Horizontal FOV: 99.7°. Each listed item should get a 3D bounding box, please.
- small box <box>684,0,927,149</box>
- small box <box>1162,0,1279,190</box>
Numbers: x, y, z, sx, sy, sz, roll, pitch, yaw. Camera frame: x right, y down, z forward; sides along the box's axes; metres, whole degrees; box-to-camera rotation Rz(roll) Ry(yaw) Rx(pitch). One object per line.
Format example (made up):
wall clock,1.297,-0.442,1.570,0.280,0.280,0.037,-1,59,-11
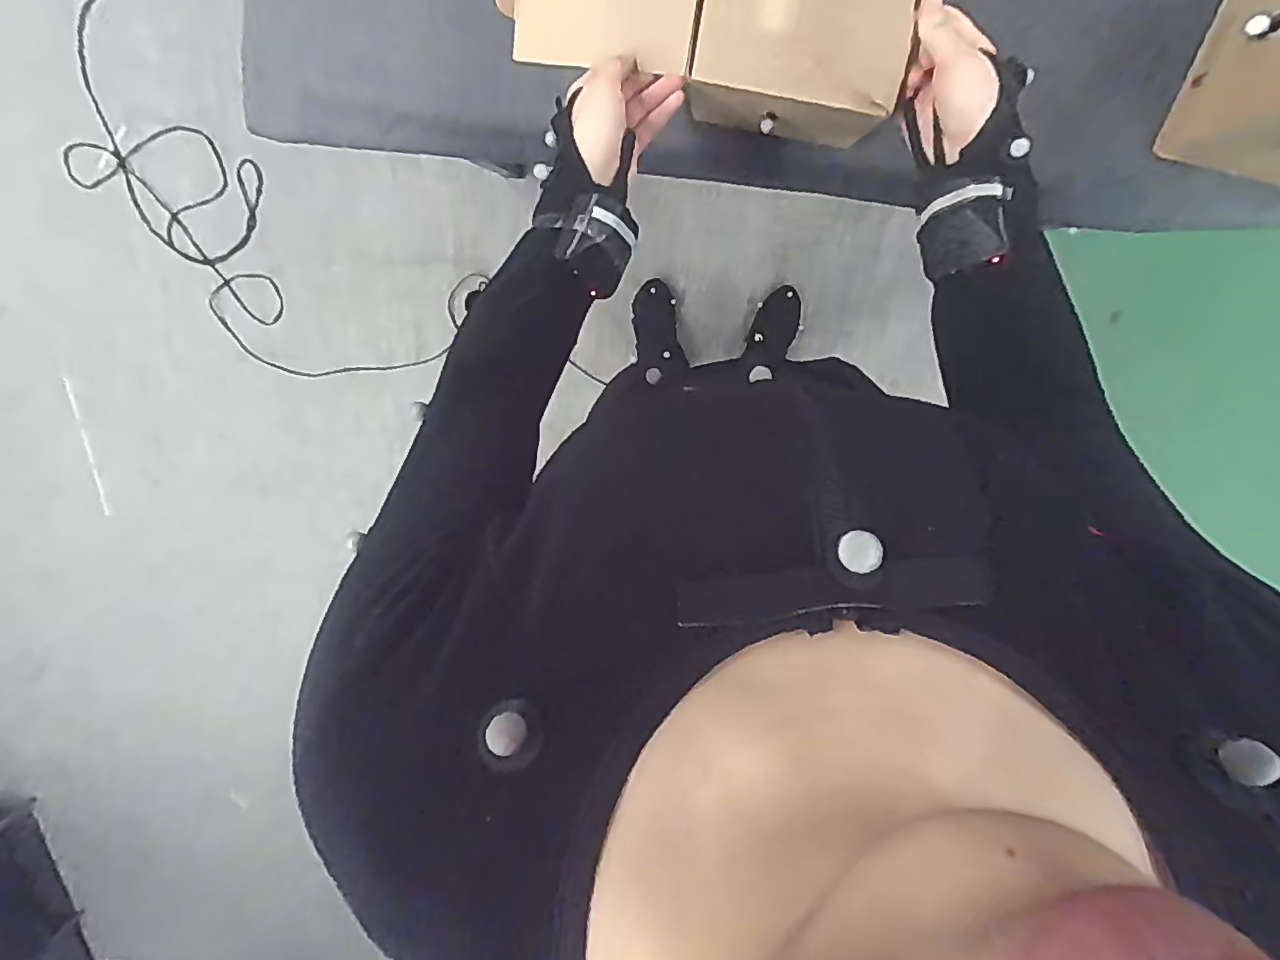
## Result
small box,0.147,-0.418,0.491,0.179,0.176,0.168,13,114,4
small box,0.626,-0.364,0.462,0.179,0.176,0.168,14,109,1
